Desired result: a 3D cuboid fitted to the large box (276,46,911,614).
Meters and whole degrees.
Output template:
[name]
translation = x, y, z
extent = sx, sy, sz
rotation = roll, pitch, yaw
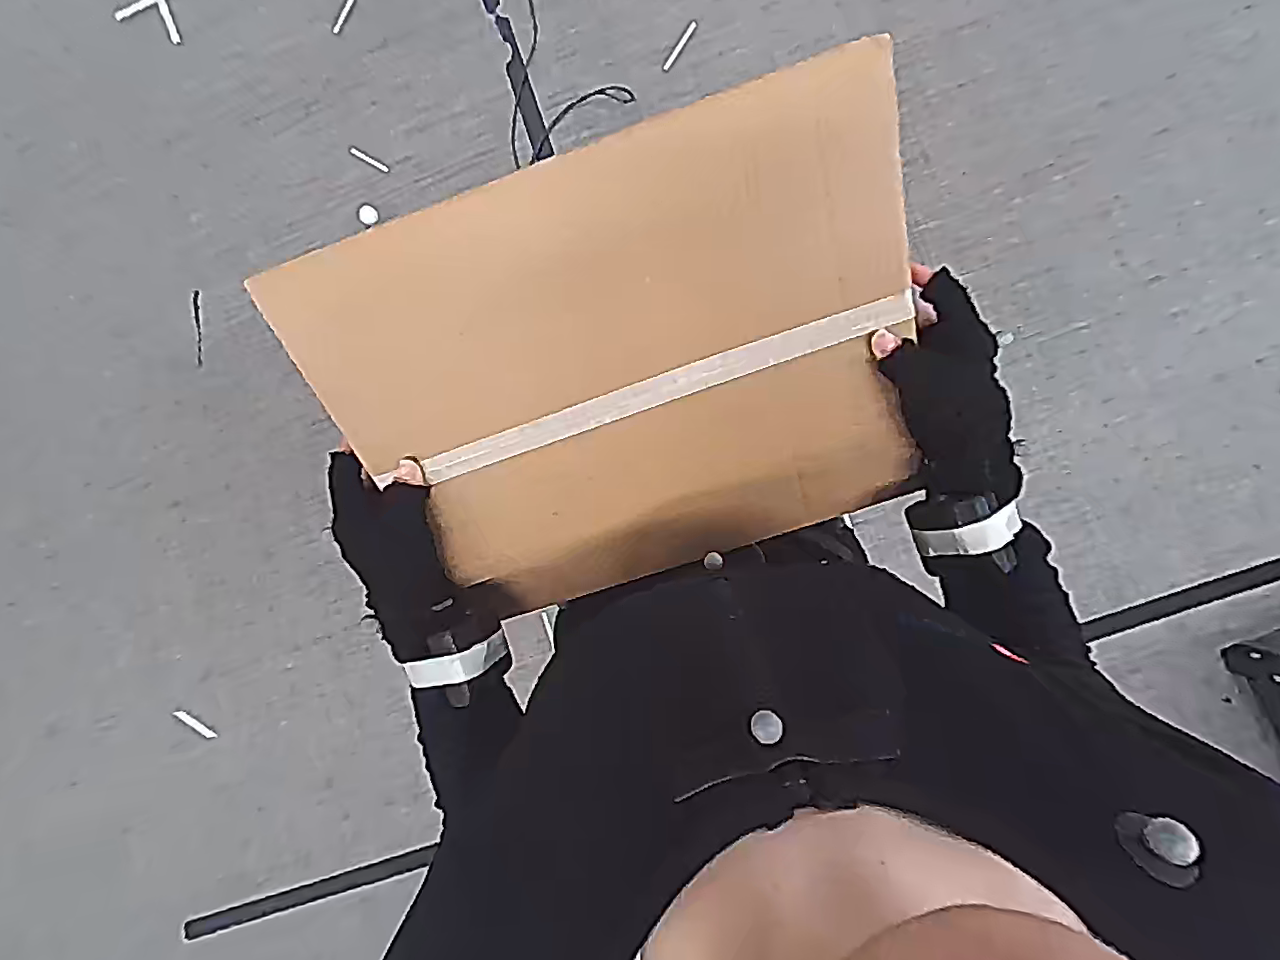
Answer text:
[large box]
translation = -0.018, -0.134, 0.533
extent = 0.408, 0.320, 0.320
rotation = -18, 119, 5
